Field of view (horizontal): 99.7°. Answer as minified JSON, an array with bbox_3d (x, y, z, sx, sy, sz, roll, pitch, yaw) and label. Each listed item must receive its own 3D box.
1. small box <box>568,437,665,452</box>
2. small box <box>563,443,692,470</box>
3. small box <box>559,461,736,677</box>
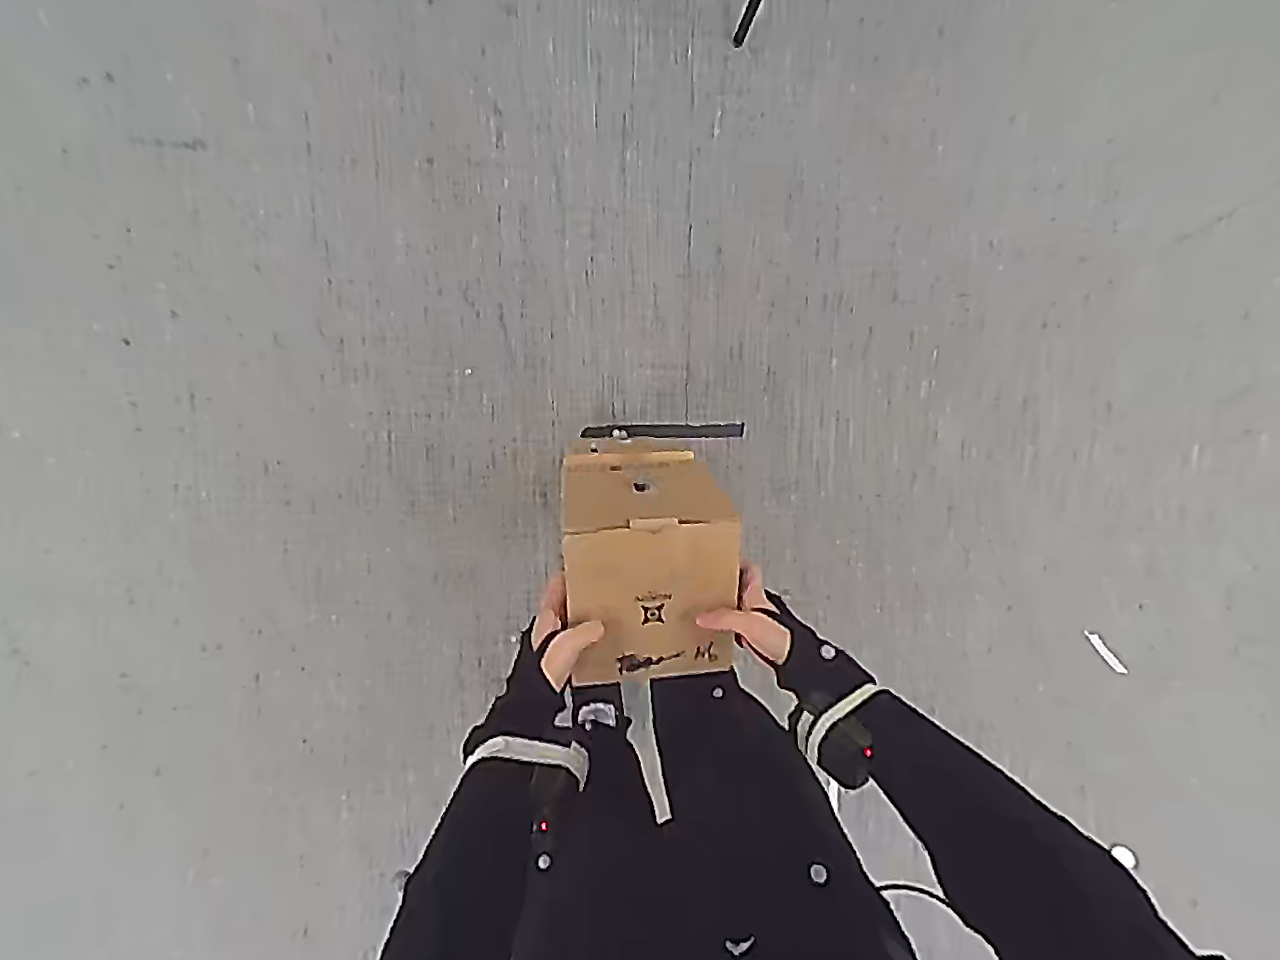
[{"bbox_3d":[-0.040,0.016,0.970,0.168,0.176,0.179,-2,96,-5],"label":"small box"},{"bbox_3d":[-0.022,0.033,0.809,0.179,0.176,0.168,-3,98,-5],"label":"small box"},{"bbox_3d":[-0.002,0.083,0.593,0.168,0.176,0.179,-4,112,-7],"label":"small box"}]
